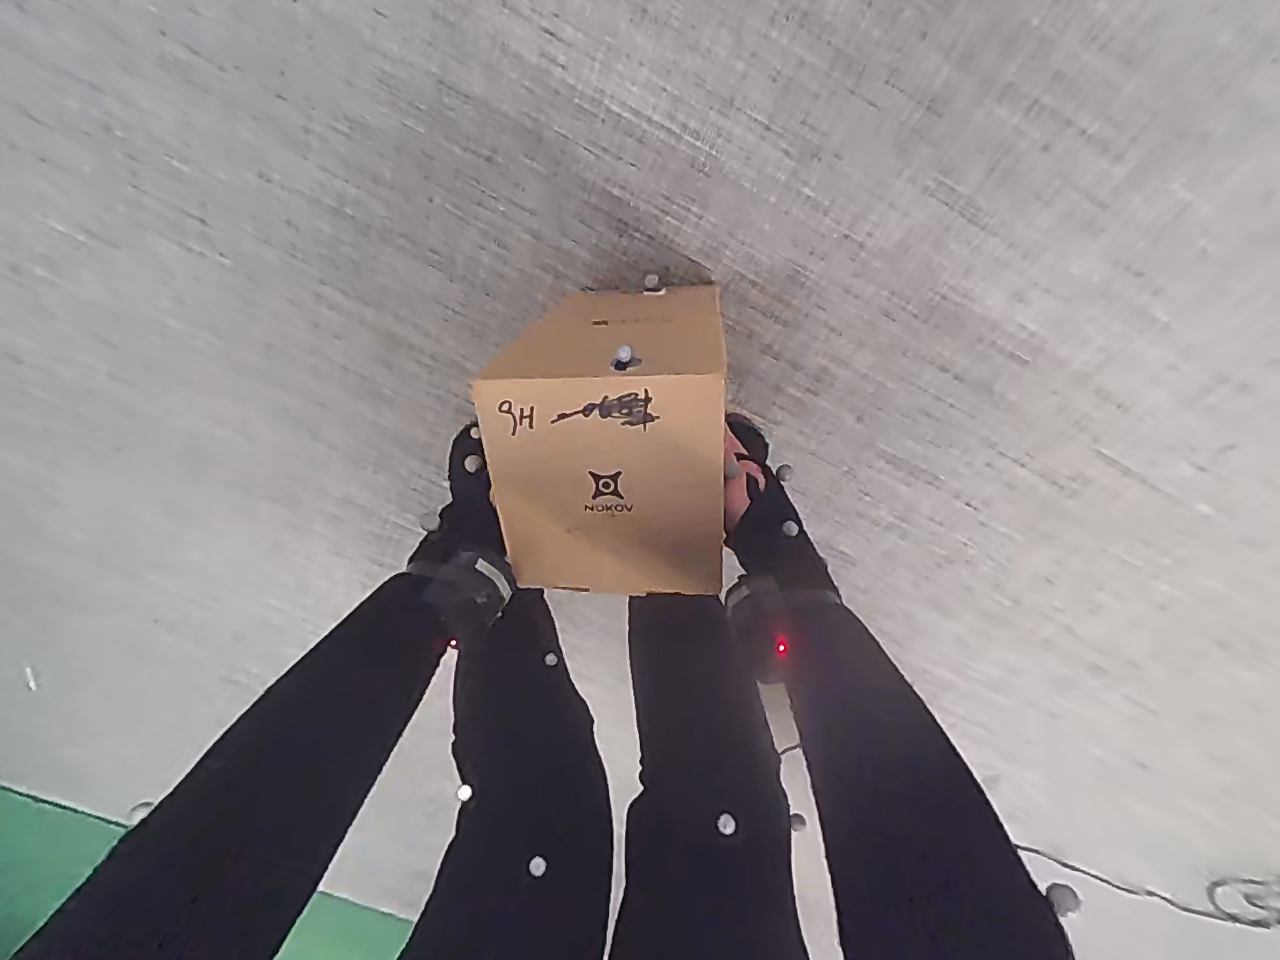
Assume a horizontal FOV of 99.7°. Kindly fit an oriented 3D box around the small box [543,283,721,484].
[{"bbox_3d":[0.006,-0.110,0.598,0.168,0.176,0.179,-1,117,8],"label":"small box"}]
